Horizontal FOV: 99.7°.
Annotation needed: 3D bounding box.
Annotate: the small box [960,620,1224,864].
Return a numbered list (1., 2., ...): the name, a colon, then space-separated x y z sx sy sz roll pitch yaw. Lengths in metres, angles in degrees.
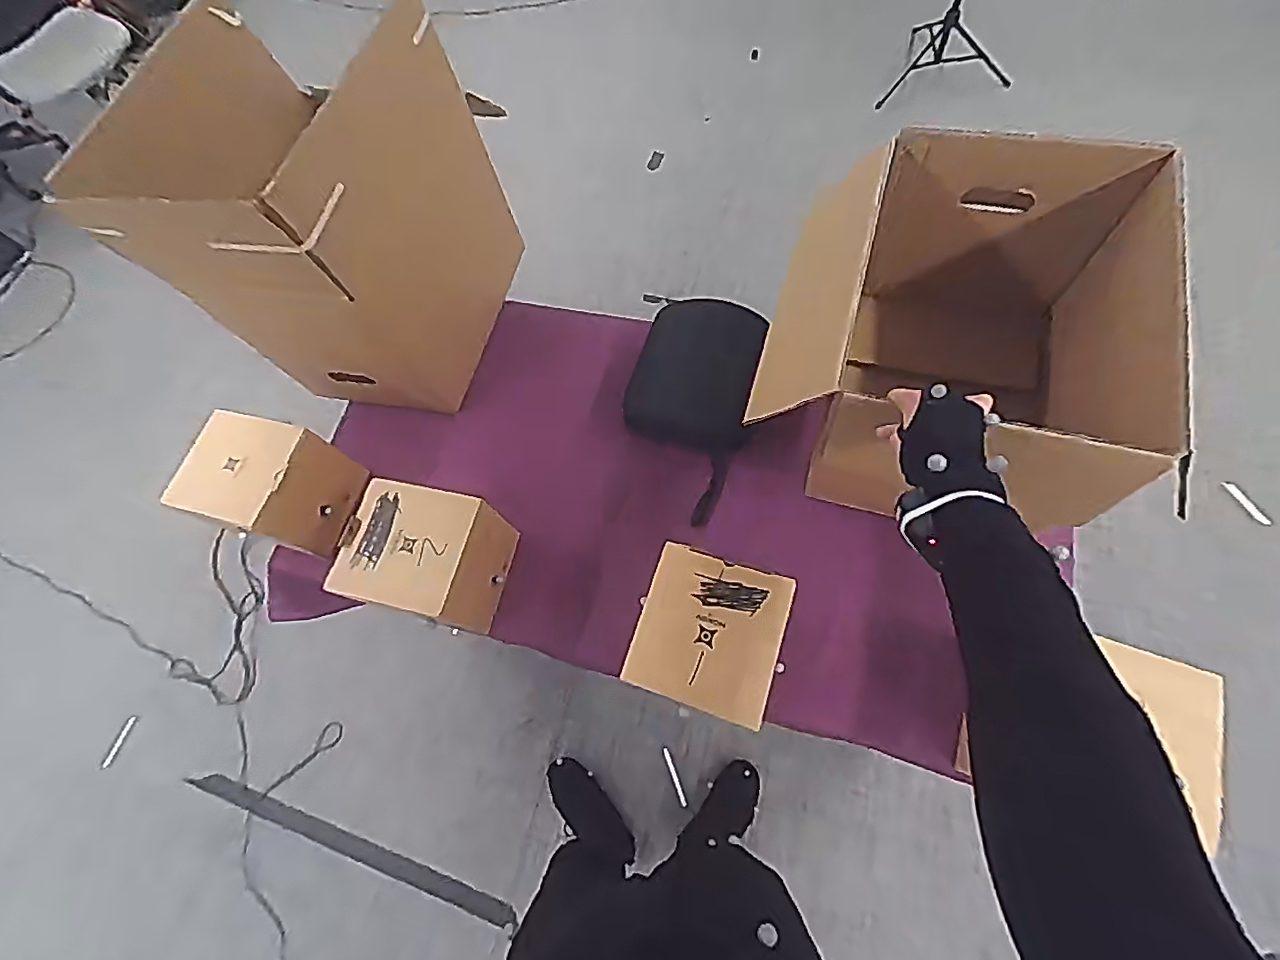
1. small box: 0.492 0.282 0.612 0.168 0.176 0.179 18 71 16

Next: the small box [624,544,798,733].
1. small box: 0.094 0.207 0.704 0.168 0.176 0.179 16 71 15

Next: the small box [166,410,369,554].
1. small box: -0.593 0.010 0.886 0.179 0.176 0.168 12 69 12
